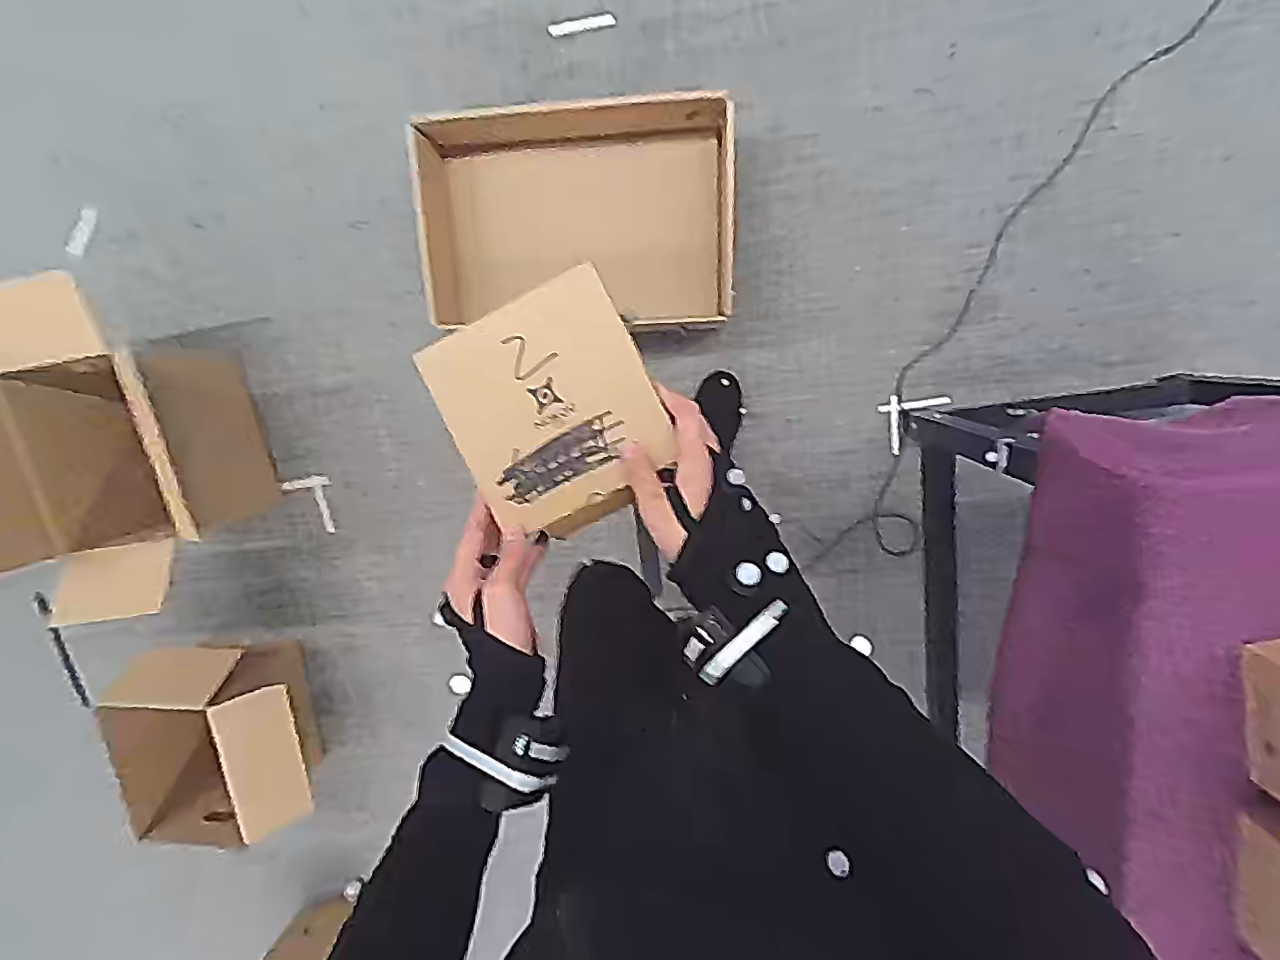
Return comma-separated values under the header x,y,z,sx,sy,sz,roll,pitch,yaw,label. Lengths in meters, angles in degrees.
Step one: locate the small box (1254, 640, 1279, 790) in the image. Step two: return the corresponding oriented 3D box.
x,y,z,sx,sy,sz,roll,pitch,yaw,label
0.708,0.241,0.473,0.179,0.176,0.168,-14,103,9,small box
